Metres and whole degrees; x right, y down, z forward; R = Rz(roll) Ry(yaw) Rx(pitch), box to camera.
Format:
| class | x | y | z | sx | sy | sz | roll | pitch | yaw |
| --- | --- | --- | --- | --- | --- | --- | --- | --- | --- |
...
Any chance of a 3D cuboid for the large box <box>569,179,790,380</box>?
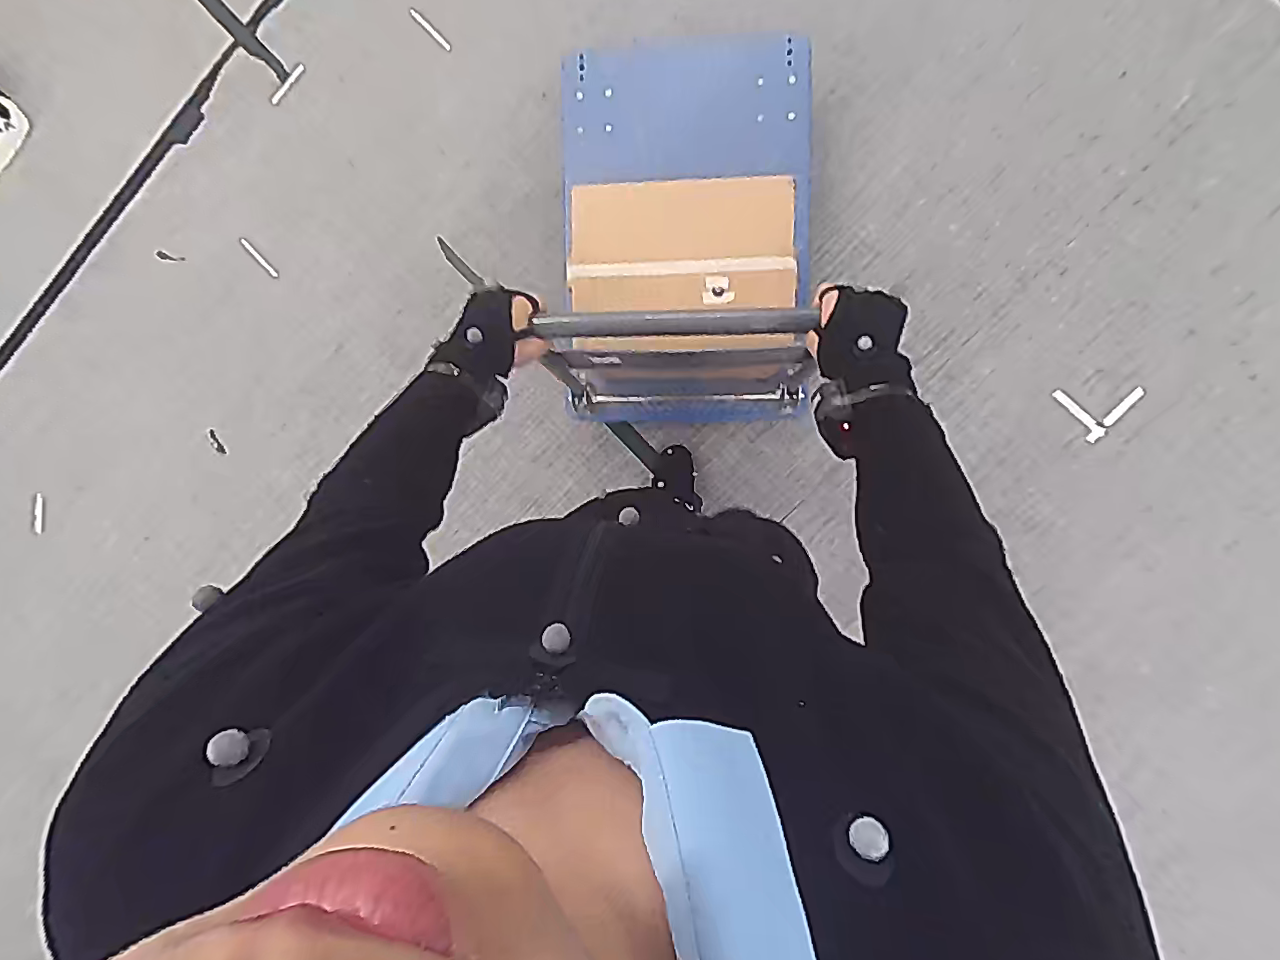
| class | x | y | z | sx | sy | sz | roll | pitch | yaw |
| --- | --- | --- | --- | --- | --- | --- | --- | --- | --- |
| large box | 0.079 | -0.388 | 1.131 | 0.408 | 0.320 | 0.320 | 0 | 93 | 4 |
